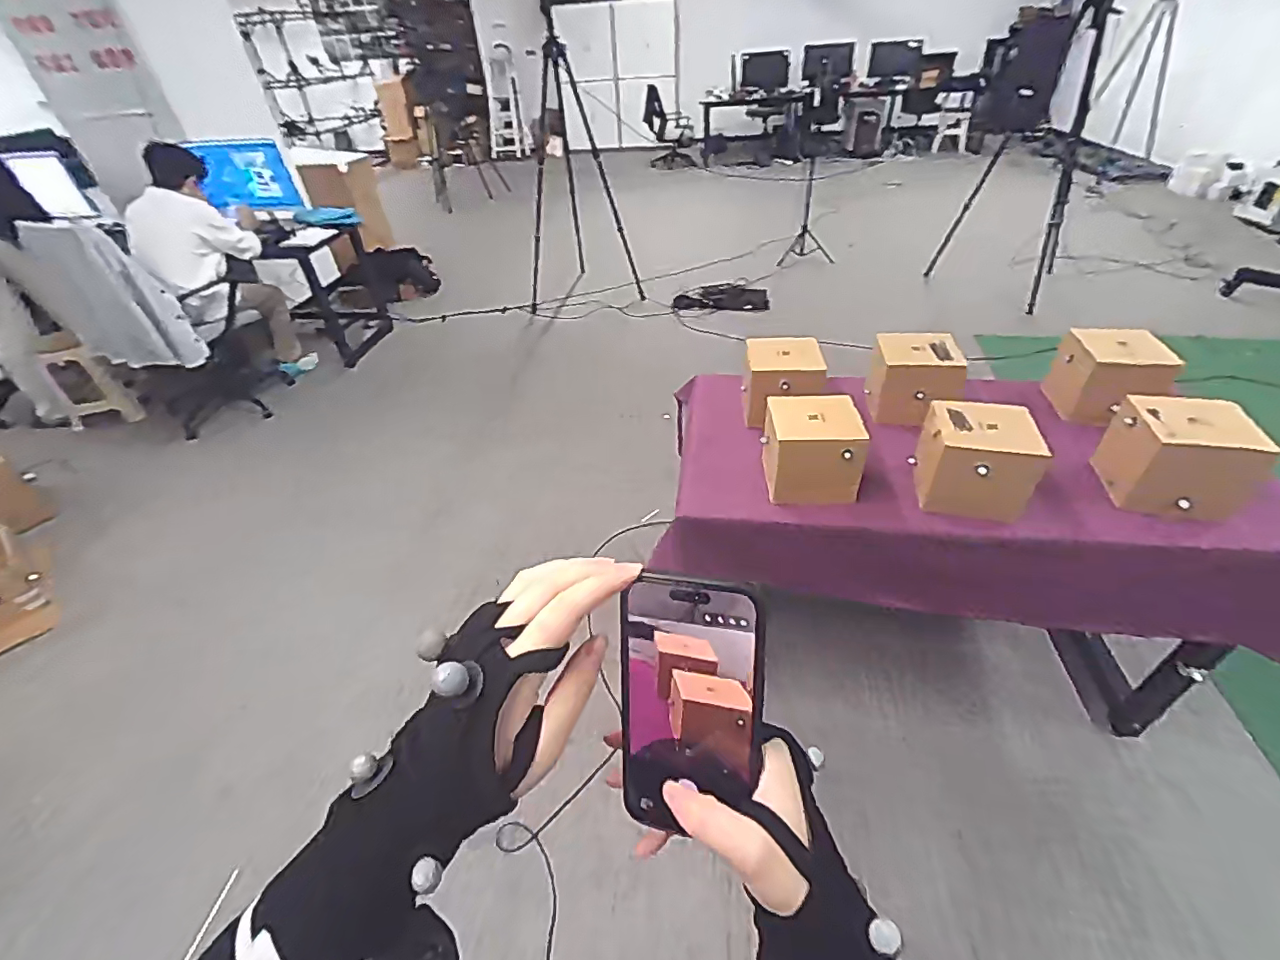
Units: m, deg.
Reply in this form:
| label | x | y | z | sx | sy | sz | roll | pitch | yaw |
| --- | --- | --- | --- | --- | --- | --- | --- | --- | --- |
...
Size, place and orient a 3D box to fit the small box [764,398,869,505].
| label | x | y | z | sx | sy | sz | roll | pitch | yaw |
| --- | --- | --- | --- | --- | --- | --- | --- | --- | --- |
| small box | 0.362 | -0.059 | 1.151 | 0.179 | 0.176 | 0.168 | 0 | 39 | 4 |

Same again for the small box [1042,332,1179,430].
| label | x | y | z | sx | sy | sz | roll | pitch | yaw |
| --- | --- | --- | --- | --- | --- | --- | --- | --- | --- |
| small box | 1.103 | -0.236 | 1.291 | 0.168 | 0.176 | 0.179 | 5 | 41 | 12 |

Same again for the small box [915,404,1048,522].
| label | x | y | z | sx | sy | sz | roll | pitch | yaw |
| --- | --- | --- | --- | --- | --- | --- | --- | --- | --- |
| small box | 0.669 | -0.034 | 1.090 | 0.179 | 0.176 | 0.168 | 8 | 41 | 13 |

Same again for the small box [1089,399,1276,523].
| label | x | y | z | sx | sy | sz | roll | pitch | yaw |
| --- | --- | --- | --- | --- | --- | --- | --- | --- | --- |
| small box | 1.039 | -0.036 | 1.057 | 0.179 | 0.176 | 0.168 | 8 | 41 | 14 |
